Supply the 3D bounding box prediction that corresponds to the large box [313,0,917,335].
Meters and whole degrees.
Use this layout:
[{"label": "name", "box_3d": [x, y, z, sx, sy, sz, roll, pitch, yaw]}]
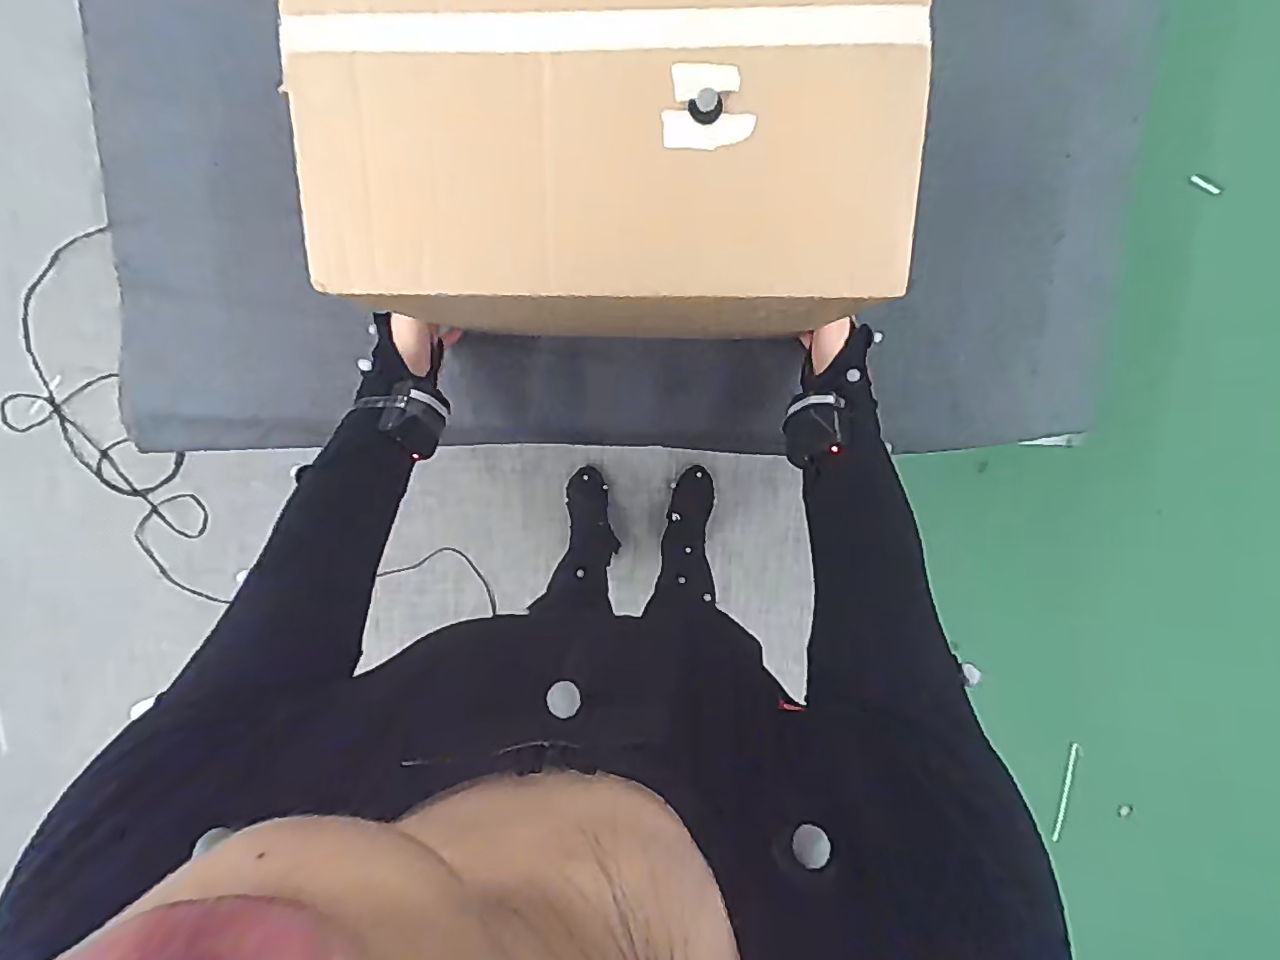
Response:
[{"label": "large box", "box_3d": [-0.017, -0.311, 0.504, 0.408, 0.320, 0.320, 1, 100, 1]}]
